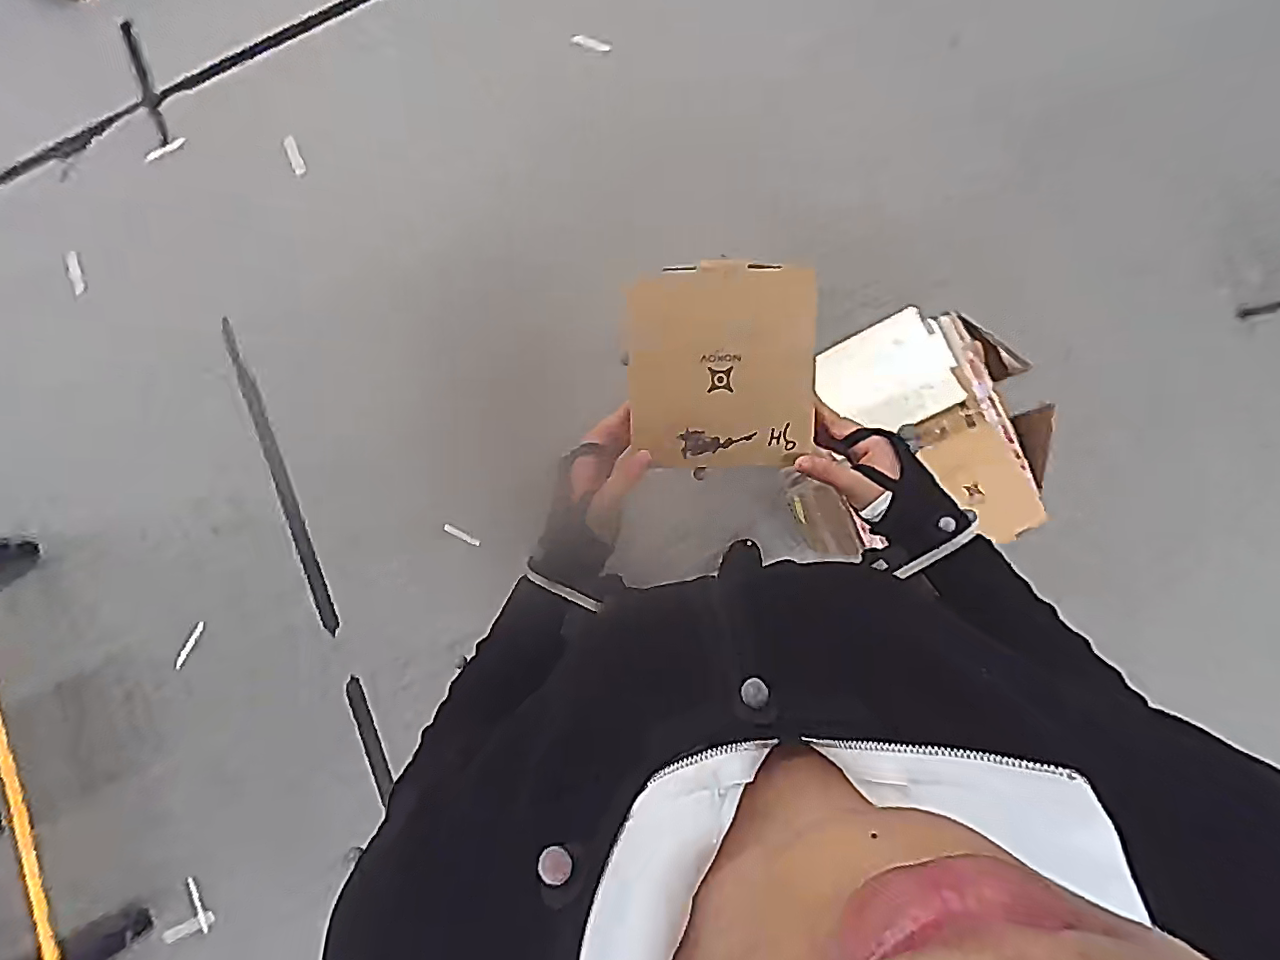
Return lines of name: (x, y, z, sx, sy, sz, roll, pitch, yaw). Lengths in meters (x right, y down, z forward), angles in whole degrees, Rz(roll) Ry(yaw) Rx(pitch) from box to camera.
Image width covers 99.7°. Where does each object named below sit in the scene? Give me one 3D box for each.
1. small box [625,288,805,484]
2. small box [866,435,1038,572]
small box: (0.070, -0.093, 0.575, 0.168, 0.176, 0.179, -2, 97, 2)
small box: (0.530, 0.043, 0.946, 0.168, 0.176, 0.179, -26, 83, 2)
